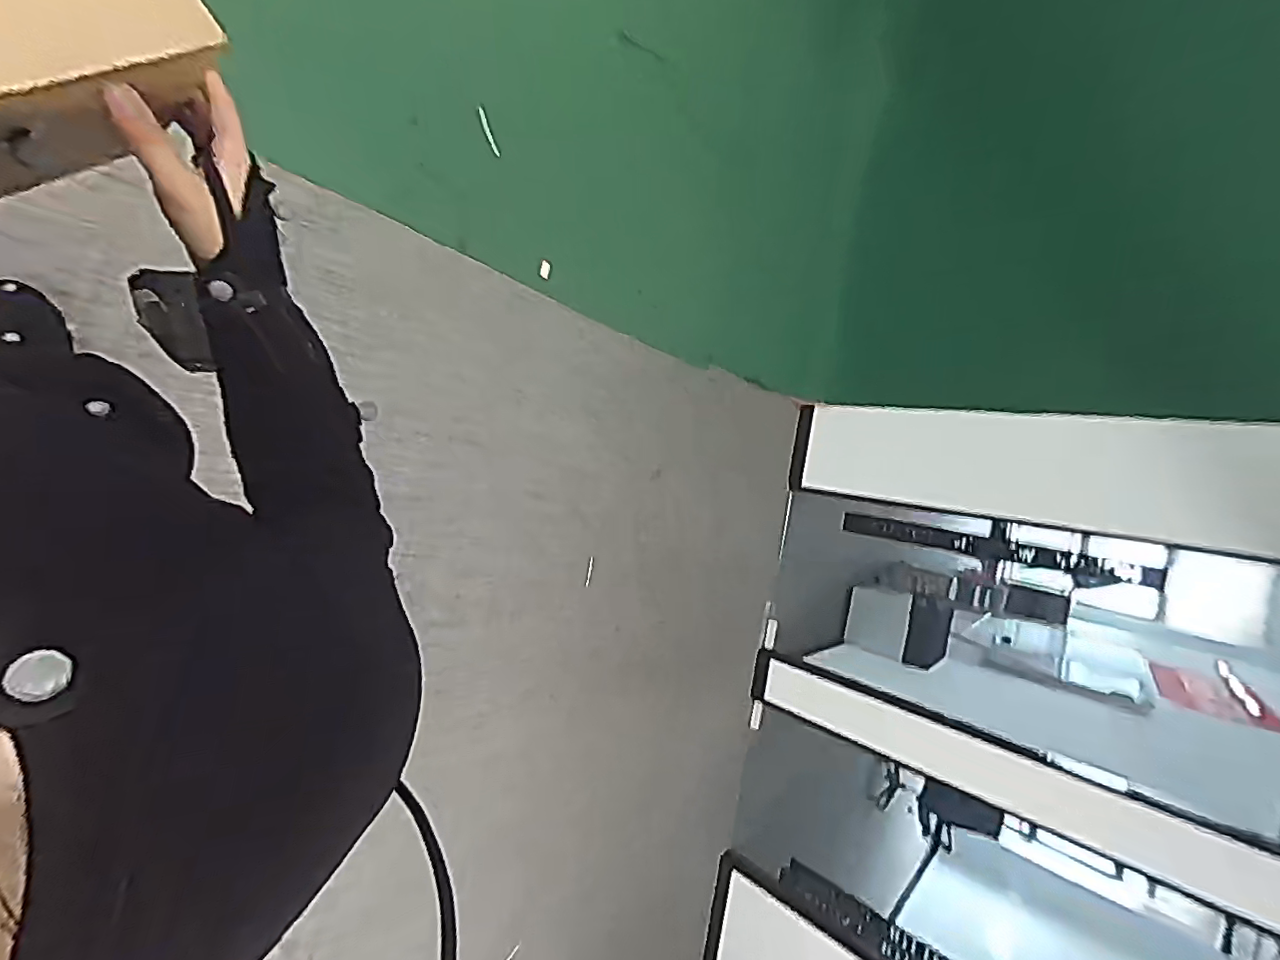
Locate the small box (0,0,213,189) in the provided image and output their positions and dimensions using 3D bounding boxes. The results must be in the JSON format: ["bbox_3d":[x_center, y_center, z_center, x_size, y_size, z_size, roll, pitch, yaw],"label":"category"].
[{"bbox_3d":[-0.374,-0.257,0.266,0.179,0.176,0.168,-56,132,-34],"label":"small box"}]
